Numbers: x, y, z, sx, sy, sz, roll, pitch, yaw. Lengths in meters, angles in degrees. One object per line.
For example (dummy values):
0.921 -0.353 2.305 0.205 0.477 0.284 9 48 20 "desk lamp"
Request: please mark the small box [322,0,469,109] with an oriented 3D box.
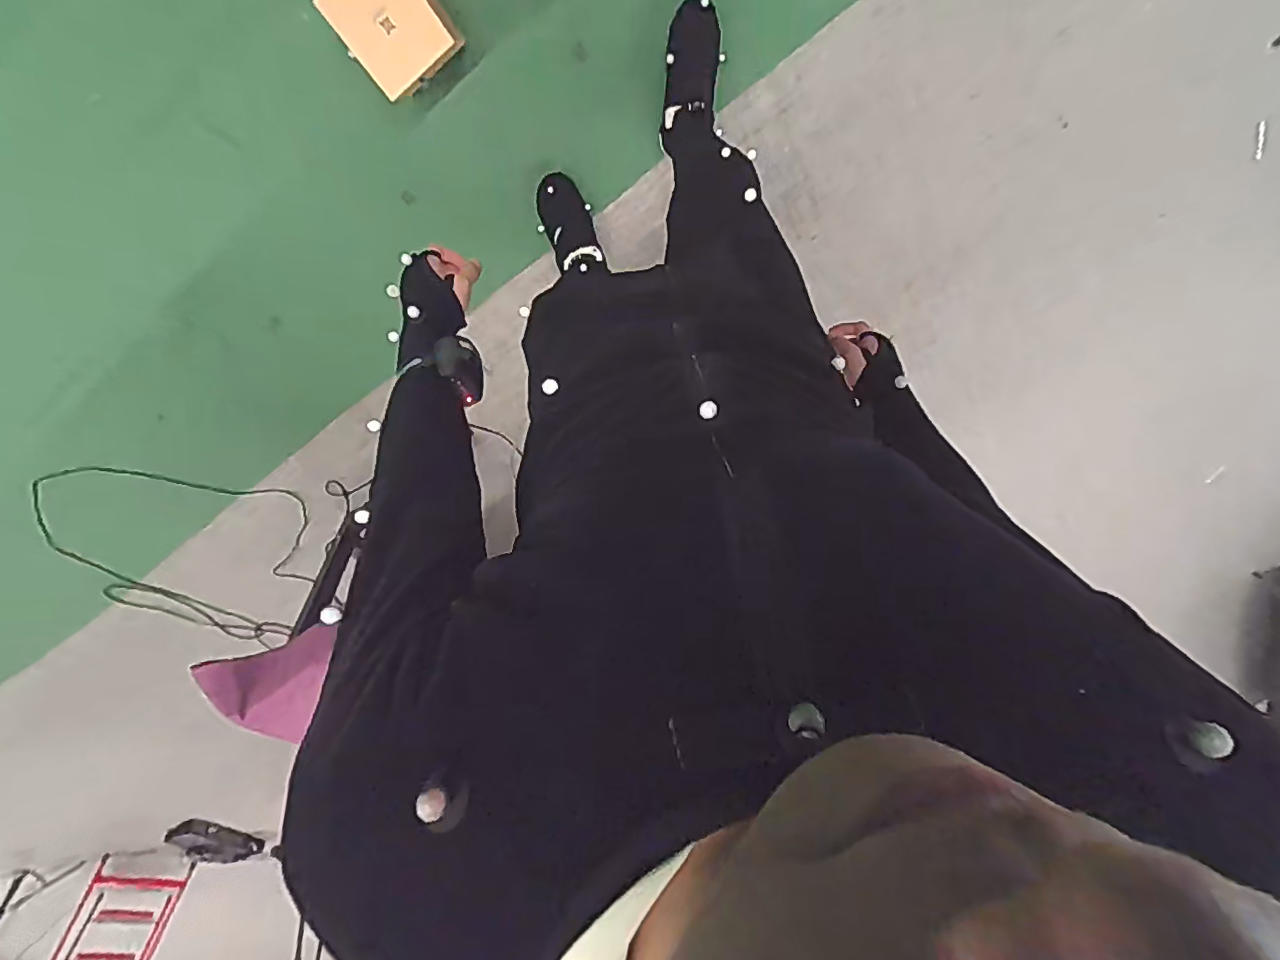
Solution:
-0.451 -0.853 1.031 0.168 0.176 0.179 -30 125 16 "small box"
